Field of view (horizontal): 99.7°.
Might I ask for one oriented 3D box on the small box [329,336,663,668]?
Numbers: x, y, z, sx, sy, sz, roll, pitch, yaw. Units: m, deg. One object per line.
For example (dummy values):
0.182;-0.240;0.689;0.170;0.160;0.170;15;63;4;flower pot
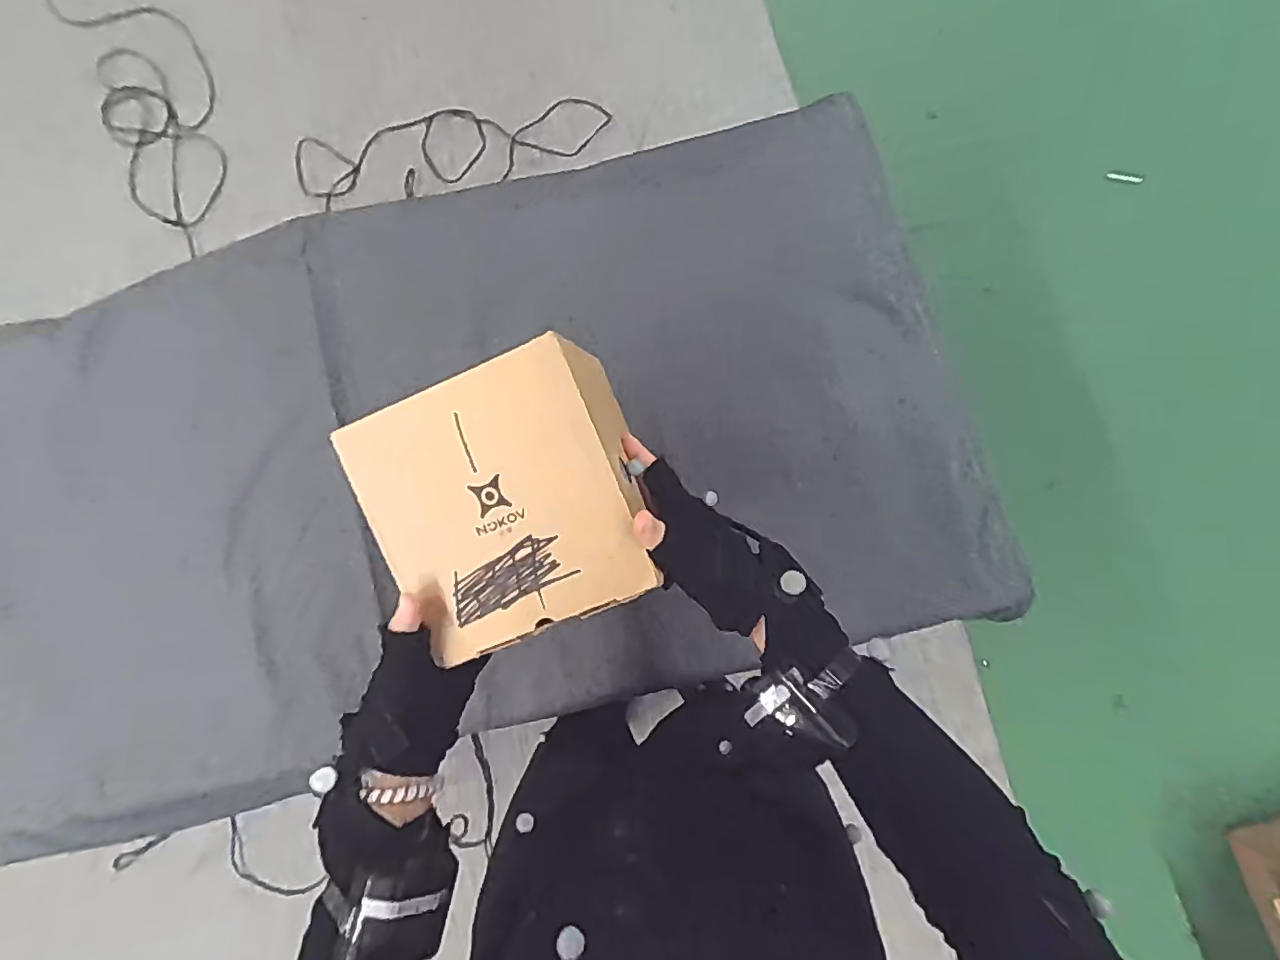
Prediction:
-0.088;0.009;0.424;0.168;0.176;0.179;-23;94;7;small box
